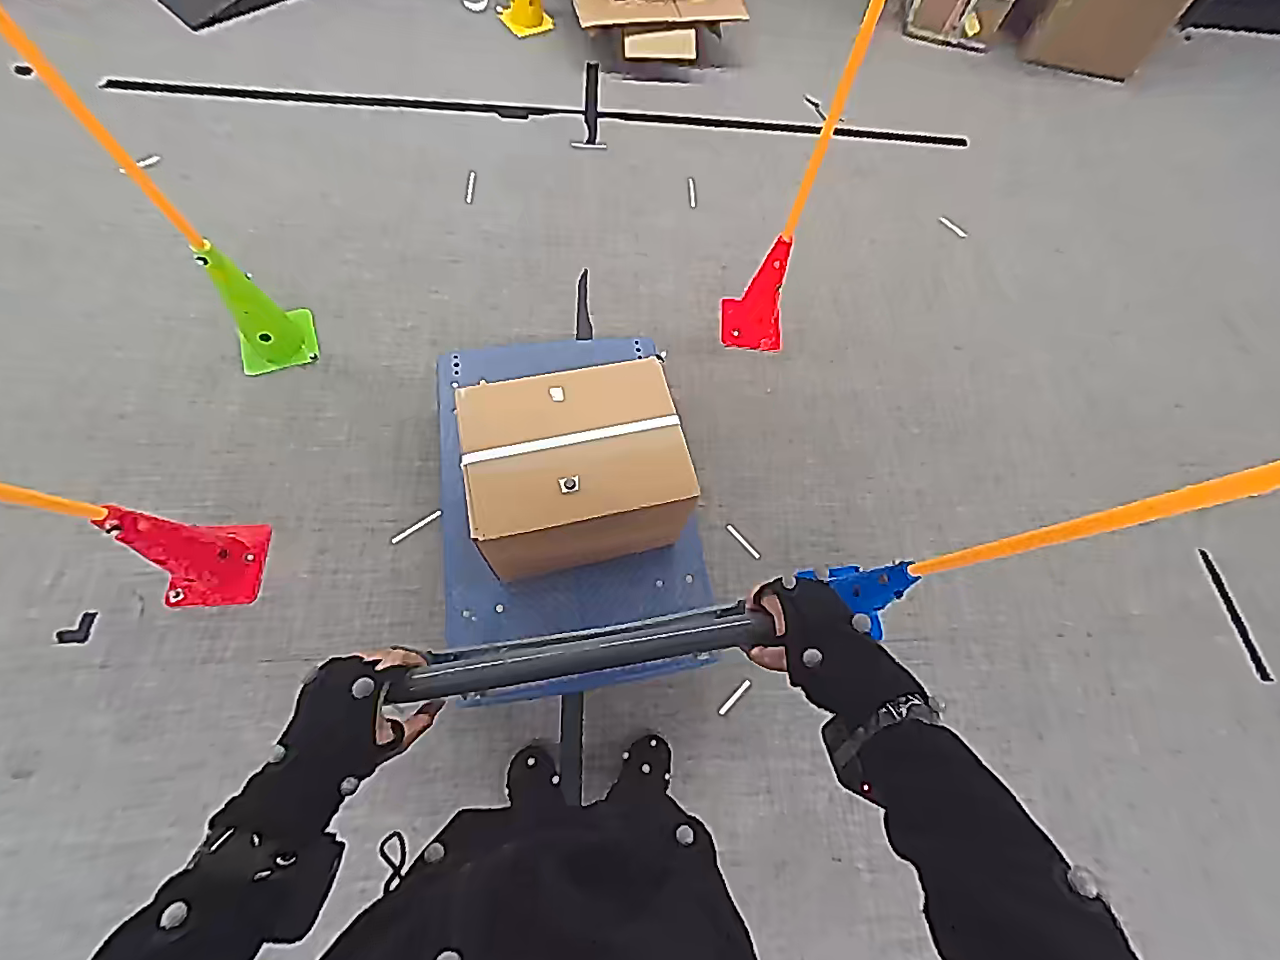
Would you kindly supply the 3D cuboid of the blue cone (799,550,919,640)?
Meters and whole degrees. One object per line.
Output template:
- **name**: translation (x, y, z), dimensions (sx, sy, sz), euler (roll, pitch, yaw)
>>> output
- **blue cone**: translation (0.537, 0.248, 1.264), dimensions (0.193, 0.380, 0.192), euler (-3, 65, -8)

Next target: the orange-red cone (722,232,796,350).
- **orange-red cone**: translation (0.385, -0.583, 1.606), dimensions (0.199, 0.360, 0.198), euler (7, 66, -4)
